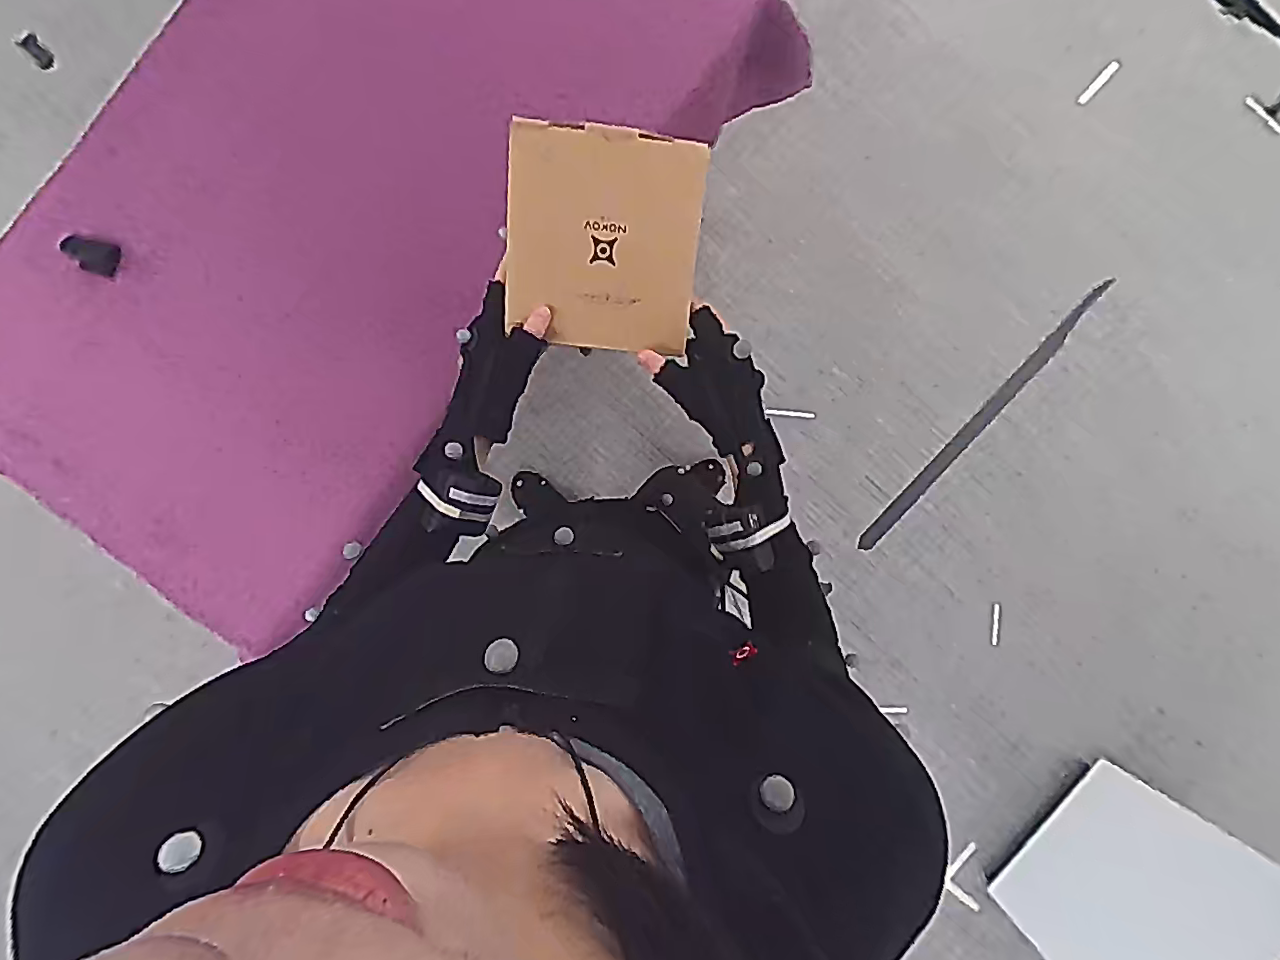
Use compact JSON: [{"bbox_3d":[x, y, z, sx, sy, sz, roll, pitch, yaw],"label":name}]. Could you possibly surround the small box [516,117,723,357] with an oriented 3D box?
[{"bbox_3d":[-0.024,-0.226,0.540,0.168,0.176,0.179,5,107,-4],"label":"small box"}]
